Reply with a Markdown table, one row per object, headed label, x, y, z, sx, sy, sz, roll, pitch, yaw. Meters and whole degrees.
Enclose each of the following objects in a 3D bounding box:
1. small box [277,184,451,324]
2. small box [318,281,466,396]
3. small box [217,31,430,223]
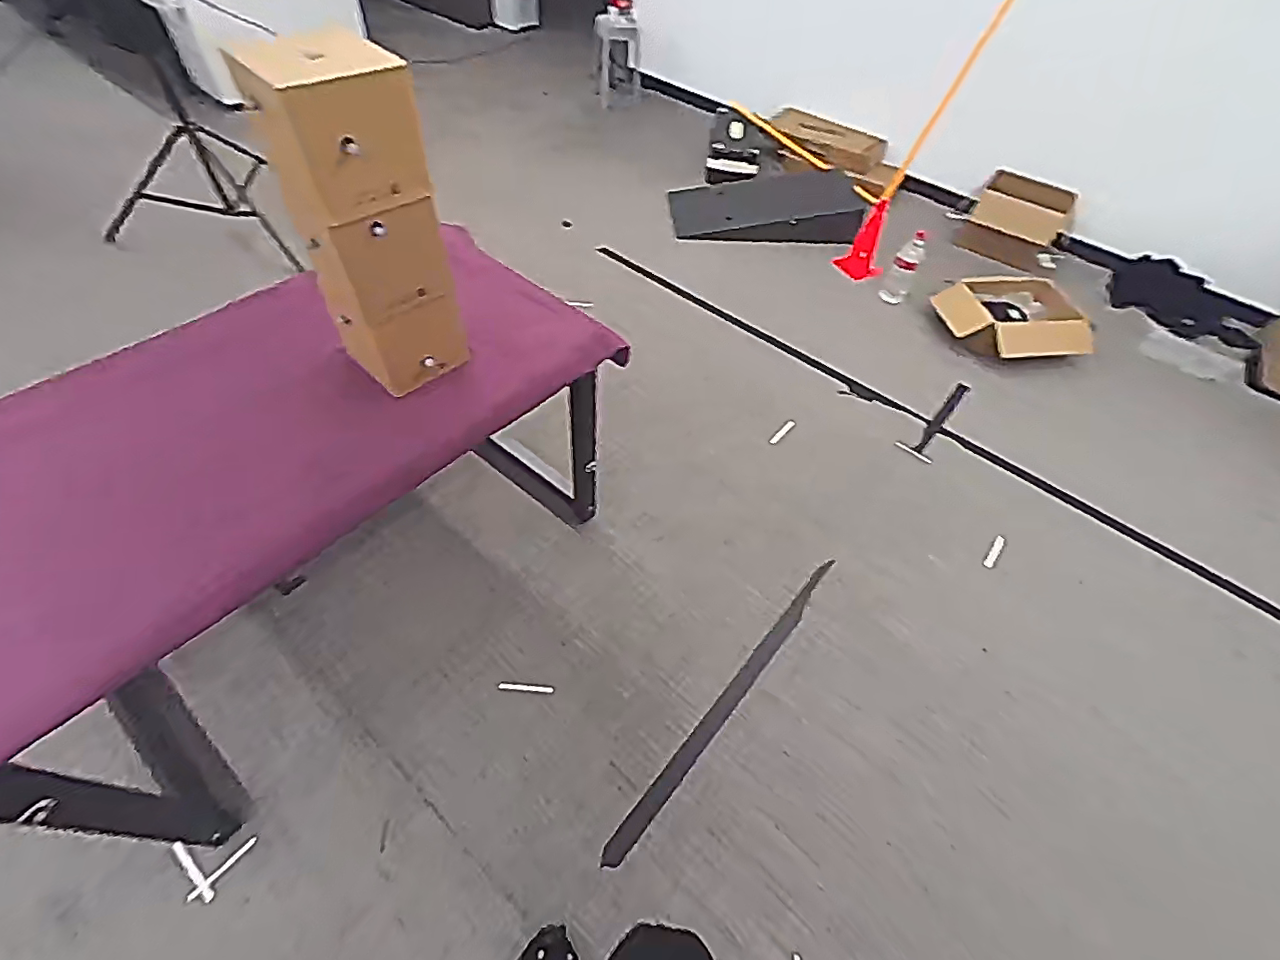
| label | x | y | z | sx | sy | sz | roll | pitch | yaw |
| --- | --- | --- | --- | --- | --- | --- | --- | --- | --- |
| small box | -0.437 | -0.385 | 0.878 | 0.168 | 0.176 | 0.179 | -37 | 63 | -27 |
| small box | -0.452 | -0.288 | 1.010 | 0.179 | 0.176 | 0.168 | 39 | 59 | 21 |
| small box | -0.420 | -0.480 | 0.746 | 0.179 | 0.176 | 0.168 | 40 | 60 | 23 |
